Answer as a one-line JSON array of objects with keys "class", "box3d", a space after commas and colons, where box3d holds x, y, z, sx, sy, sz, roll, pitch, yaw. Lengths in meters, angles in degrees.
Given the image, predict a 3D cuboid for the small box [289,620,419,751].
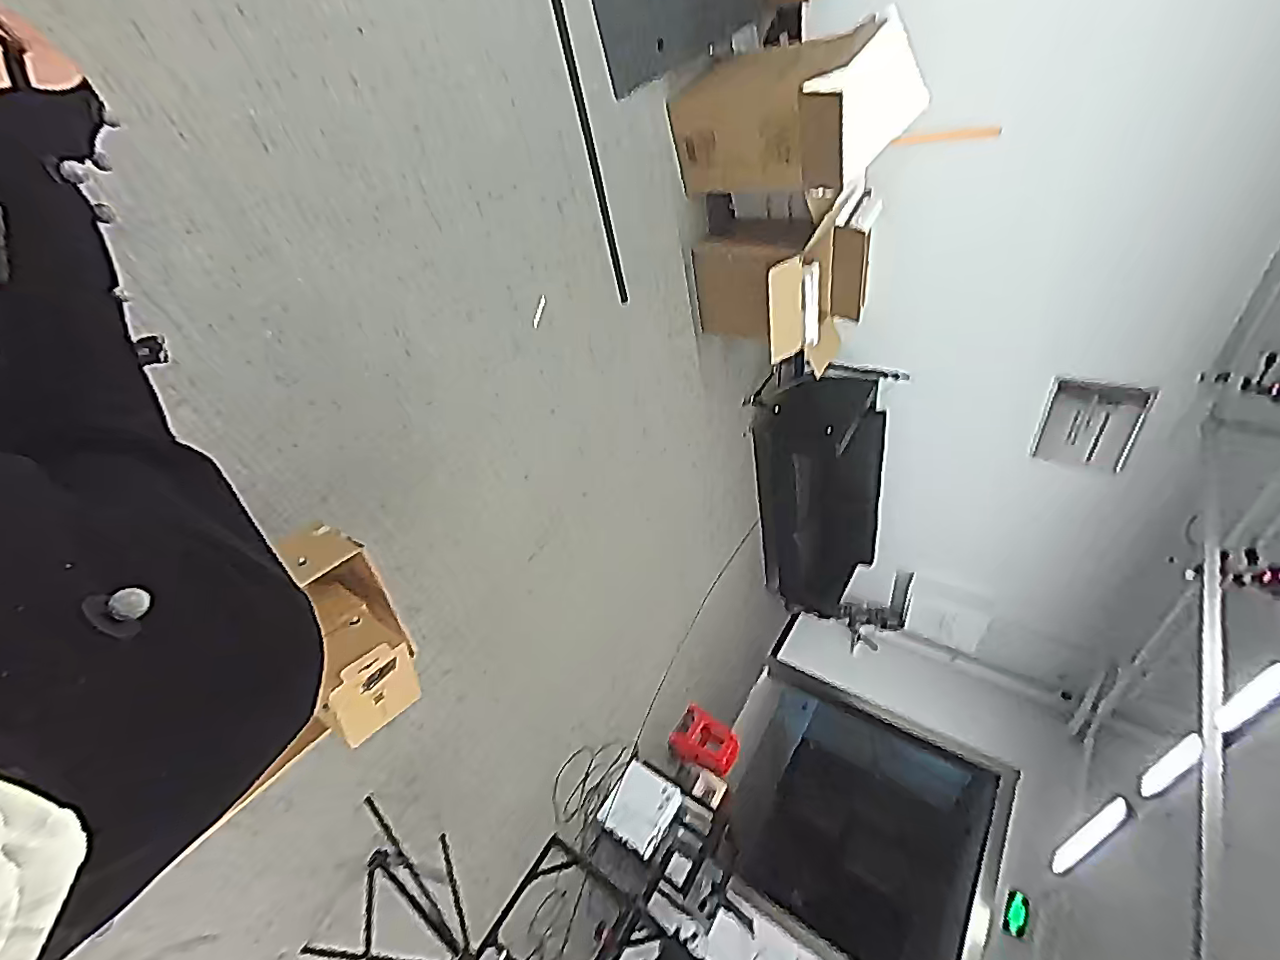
[{"class": "small box", "box3d": [-0.605, 0.421, 1.147, 0.168, 0.176, 0.179, -34, 133, -45]}]
